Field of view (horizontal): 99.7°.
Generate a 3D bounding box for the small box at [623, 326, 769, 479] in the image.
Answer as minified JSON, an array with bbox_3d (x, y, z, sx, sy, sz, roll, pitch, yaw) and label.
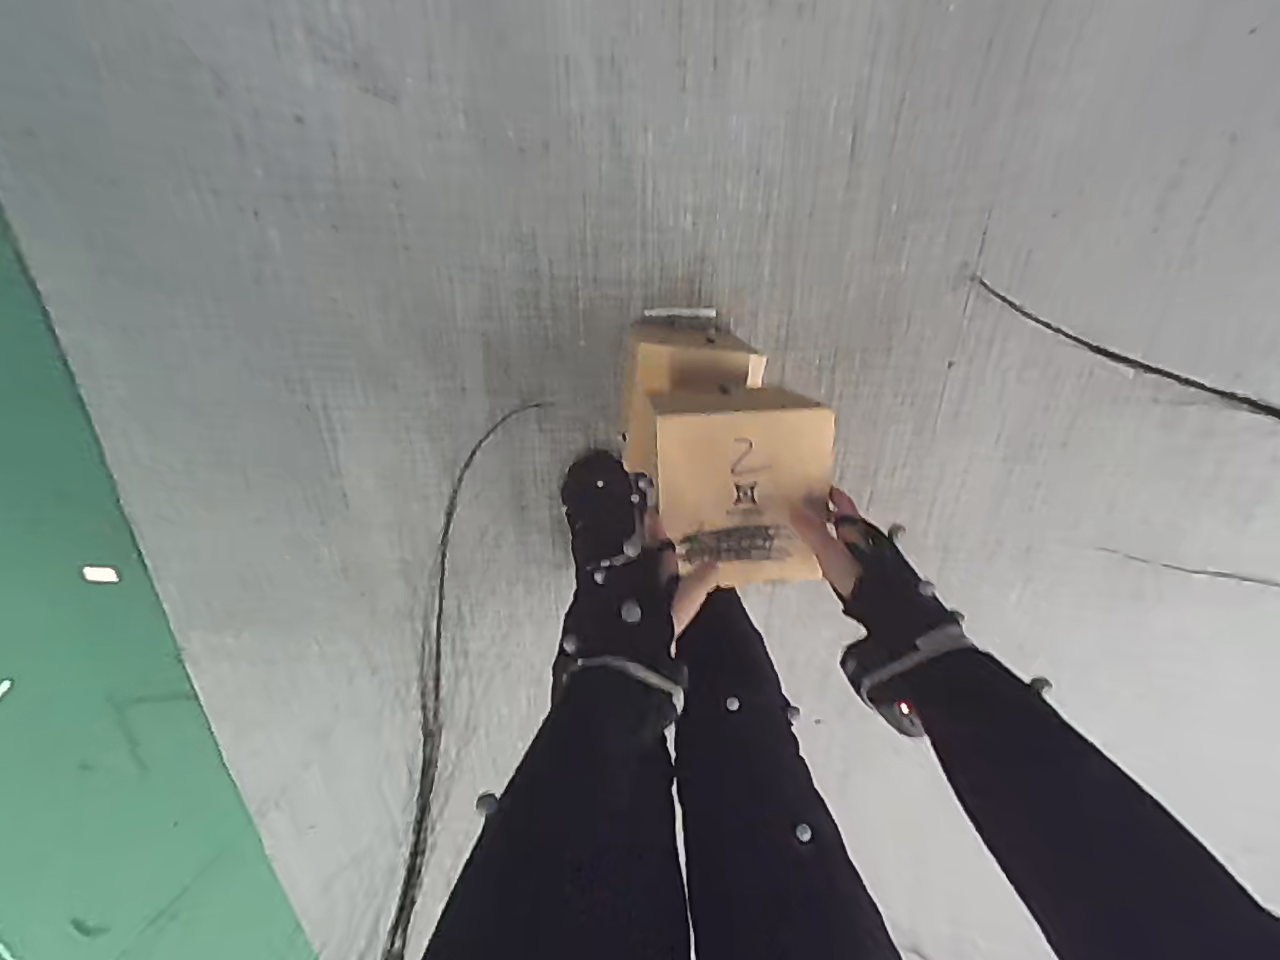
[{"bbox_3d":[0.069,-0.120,0.793,0.168,0.176,0.179,5,115,-8],"label":"small box"}]
